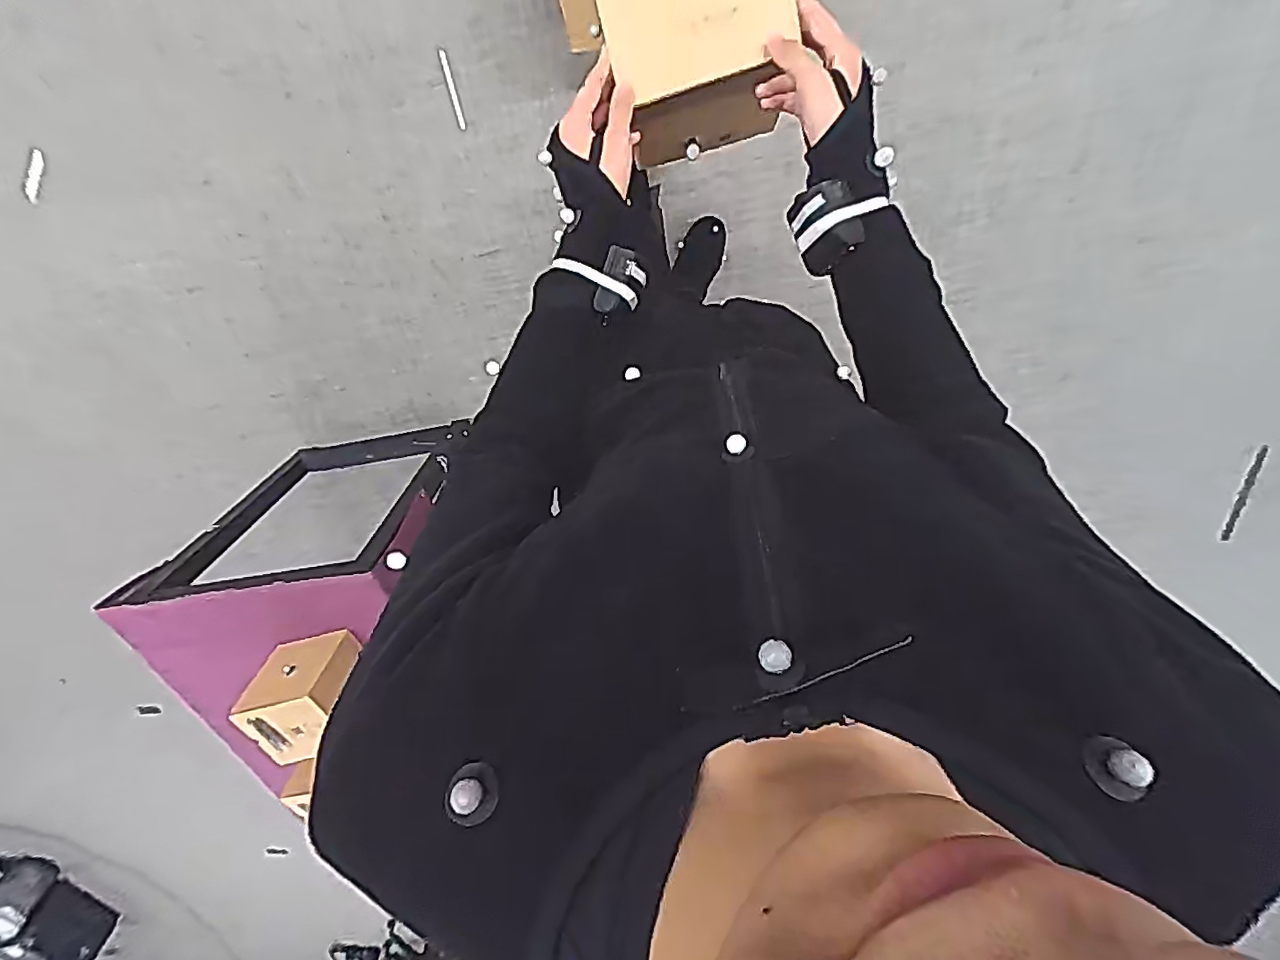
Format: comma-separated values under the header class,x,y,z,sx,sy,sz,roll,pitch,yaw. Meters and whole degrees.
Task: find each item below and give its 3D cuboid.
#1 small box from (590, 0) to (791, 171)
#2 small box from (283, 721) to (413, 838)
class,x,y,z,sx,sy,sz,roll,pitch,yaw
small box,0.041,-0.453,0.548,0.168,0.176,0.179,-13,99,8
small box,-0.667,0.694,1.261,0.179,0.176,0.168,-14,120,7
